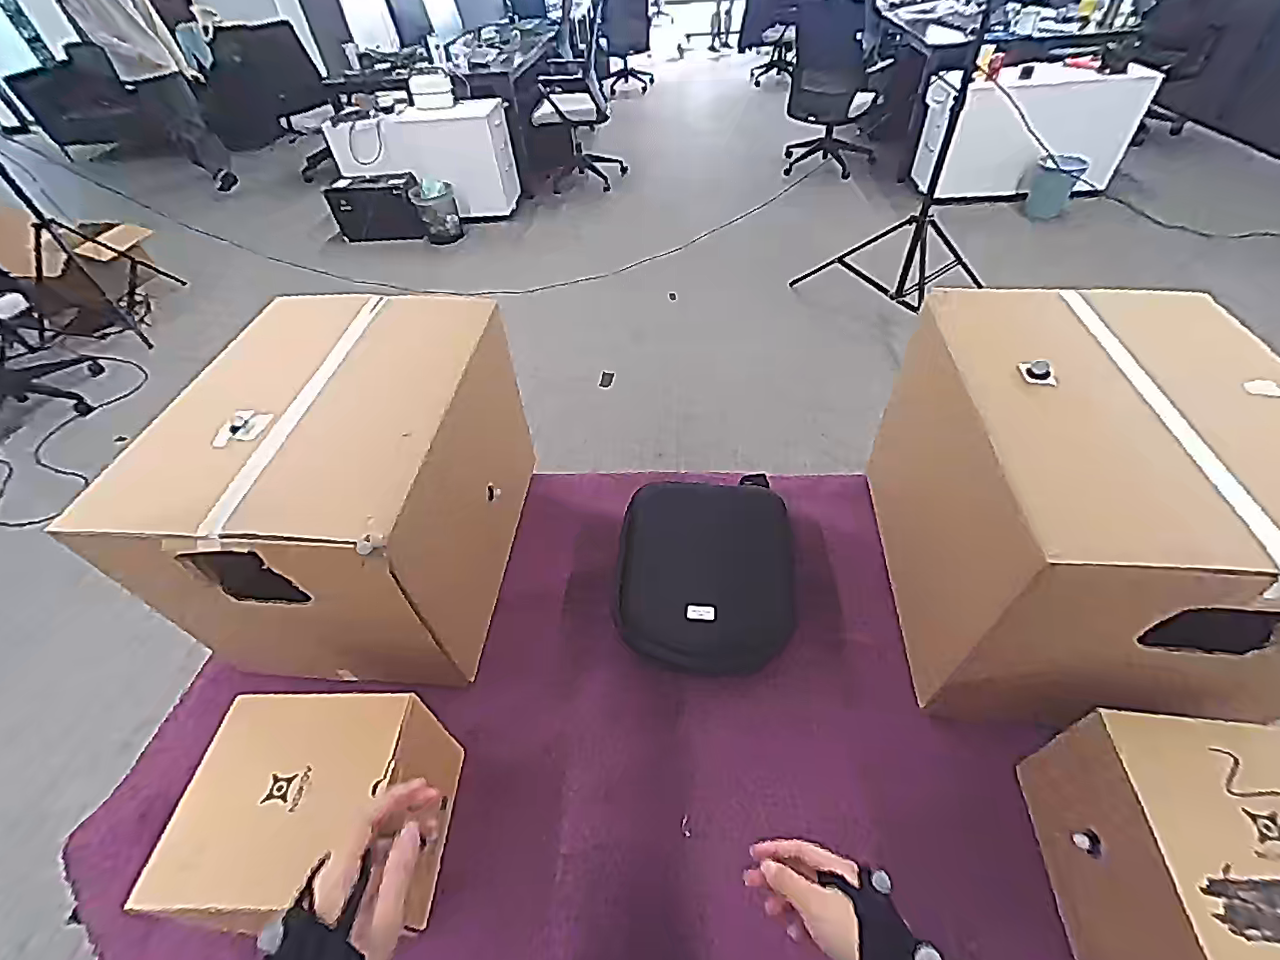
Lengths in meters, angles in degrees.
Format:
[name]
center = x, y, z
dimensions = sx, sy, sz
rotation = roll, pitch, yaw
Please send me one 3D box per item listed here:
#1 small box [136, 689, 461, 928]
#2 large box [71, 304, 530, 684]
[small box]
center = -0.298, 0.319, 0.523
dimensions = 0.179, 0.176, 0.168
rotation = -2, 46, 2
[large box]
center = -0.351, 0.012, 0.718
dimensions = 0.320, 0.320, 0.408
rotation = 1, 49, 4
